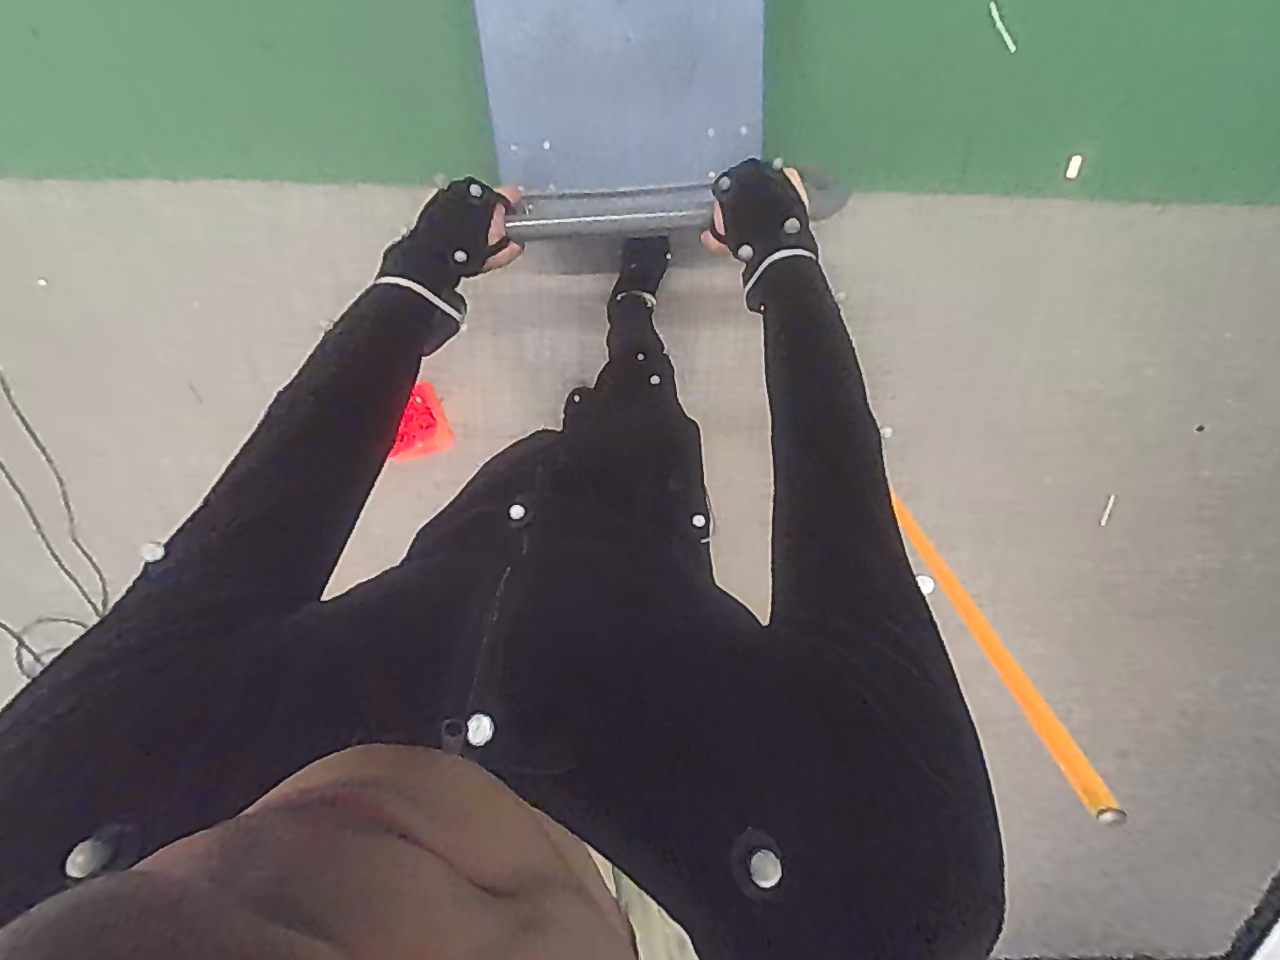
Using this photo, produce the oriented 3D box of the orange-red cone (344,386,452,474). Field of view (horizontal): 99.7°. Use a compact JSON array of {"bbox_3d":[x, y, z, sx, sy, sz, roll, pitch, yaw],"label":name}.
[{"bbox_3d":[-0.654,-0.095,1.385,0.199,0.360,0.198,-12,111,5],"label":"orange-red cone"}]
